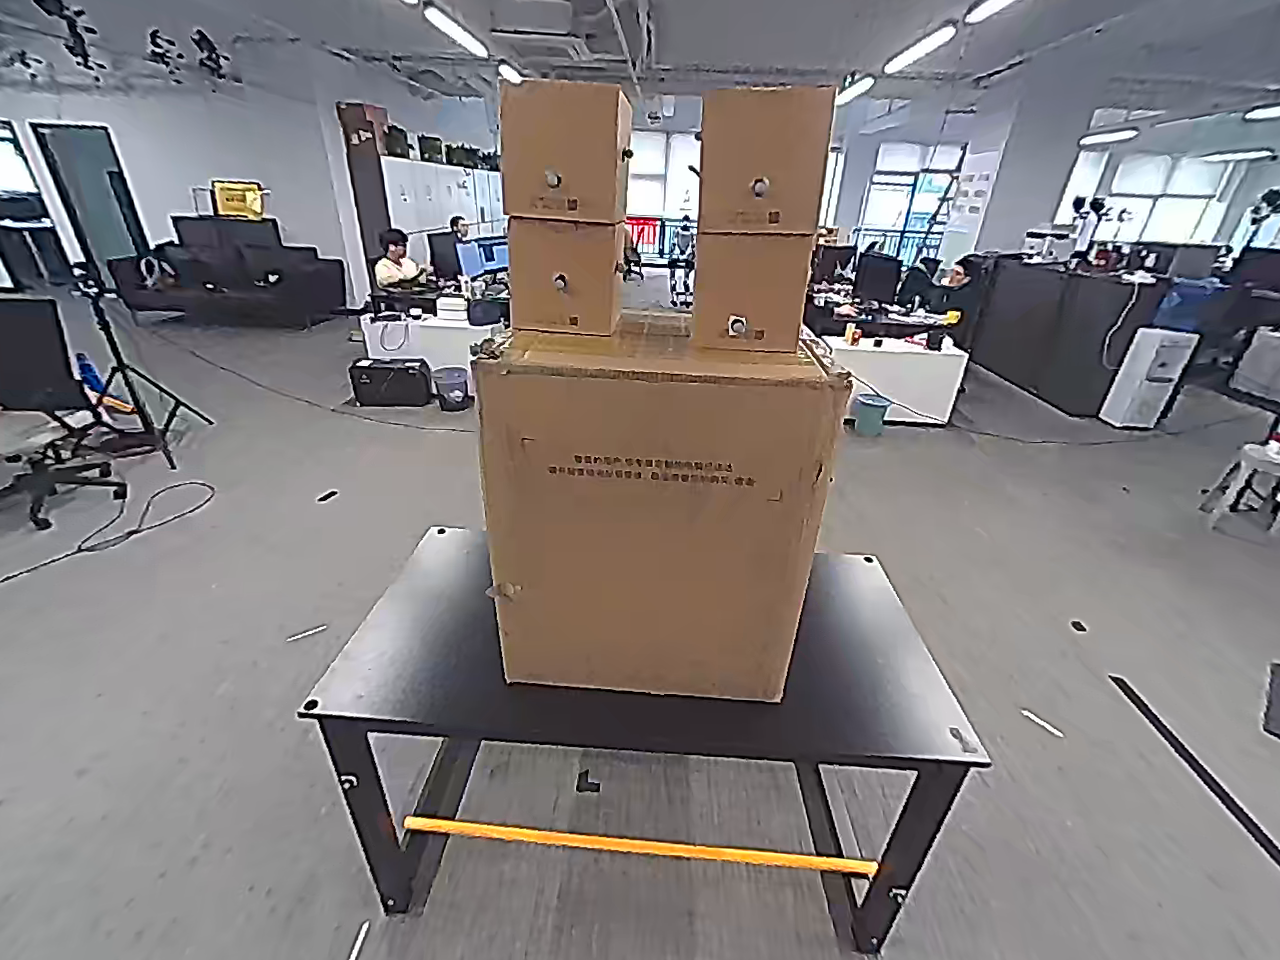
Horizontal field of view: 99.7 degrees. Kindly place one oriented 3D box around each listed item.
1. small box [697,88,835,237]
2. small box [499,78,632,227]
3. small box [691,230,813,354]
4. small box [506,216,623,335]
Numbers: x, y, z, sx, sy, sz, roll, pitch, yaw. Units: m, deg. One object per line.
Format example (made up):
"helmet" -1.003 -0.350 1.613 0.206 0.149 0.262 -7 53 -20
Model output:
"small box" 0.171 -0.452 0.784 0.168 0.176 0.179 4 28 7
"small box" -0.107 -0.489 0.824 0.168 0.176 0.179 5 28 2
"small box" 0.169 -0.309 0.867 0.168 0.176 0.179 3 29 5
"small box" -0.119 -0.350 0.916 0.168 0.176 0.179 5 28 1
